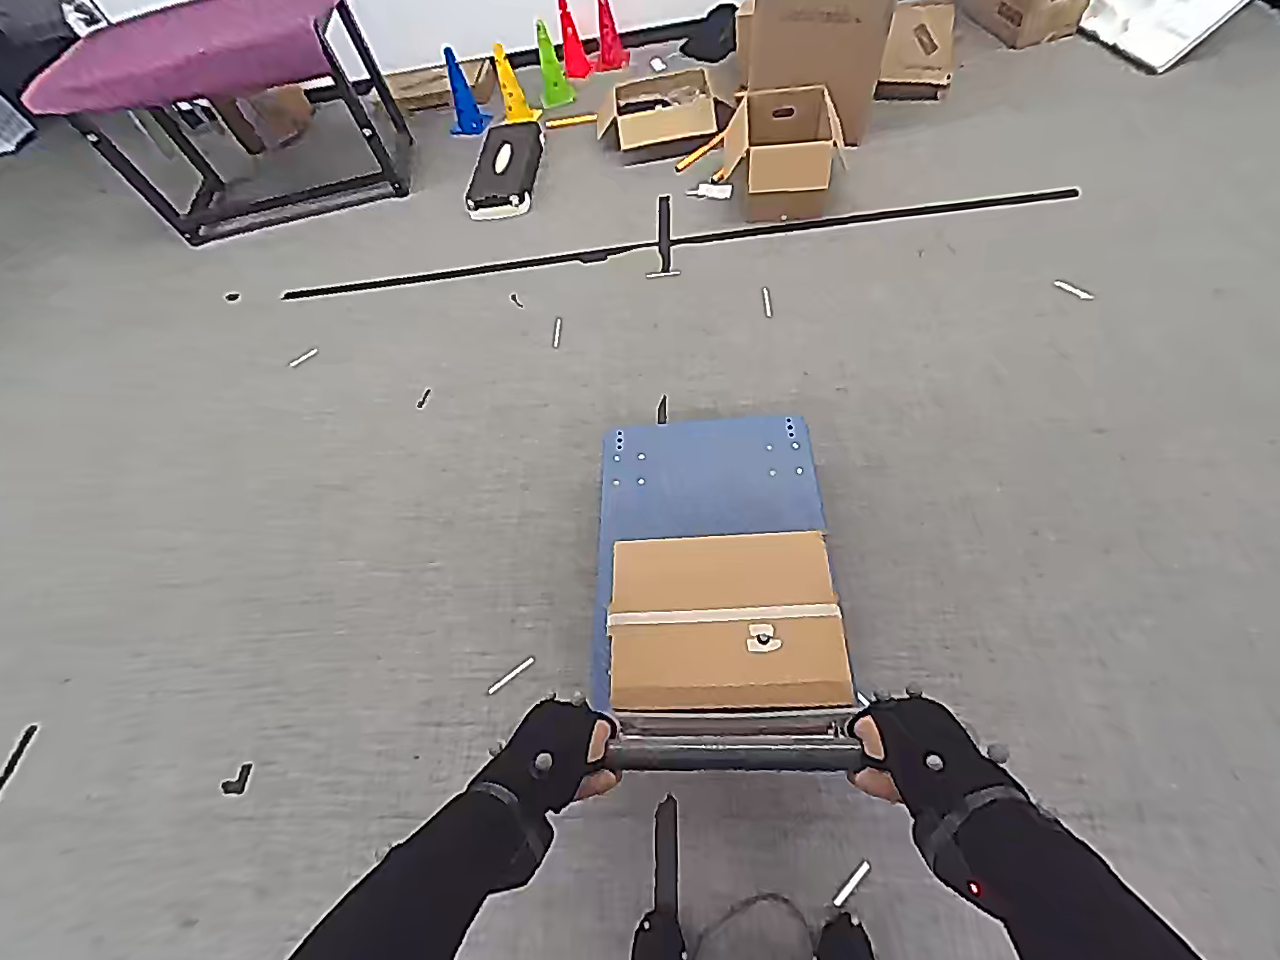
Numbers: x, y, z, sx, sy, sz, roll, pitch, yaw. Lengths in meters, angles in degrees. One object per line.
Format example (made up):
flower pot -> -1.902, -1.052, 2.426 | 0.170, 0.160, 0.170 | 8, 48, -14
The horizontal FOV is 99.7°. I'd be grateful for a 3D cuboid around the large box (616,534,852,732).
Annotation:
large box -> 0.169, 0.328, 1.113 | 0.408, 0.320, 0.320 | -4, 60, 6
